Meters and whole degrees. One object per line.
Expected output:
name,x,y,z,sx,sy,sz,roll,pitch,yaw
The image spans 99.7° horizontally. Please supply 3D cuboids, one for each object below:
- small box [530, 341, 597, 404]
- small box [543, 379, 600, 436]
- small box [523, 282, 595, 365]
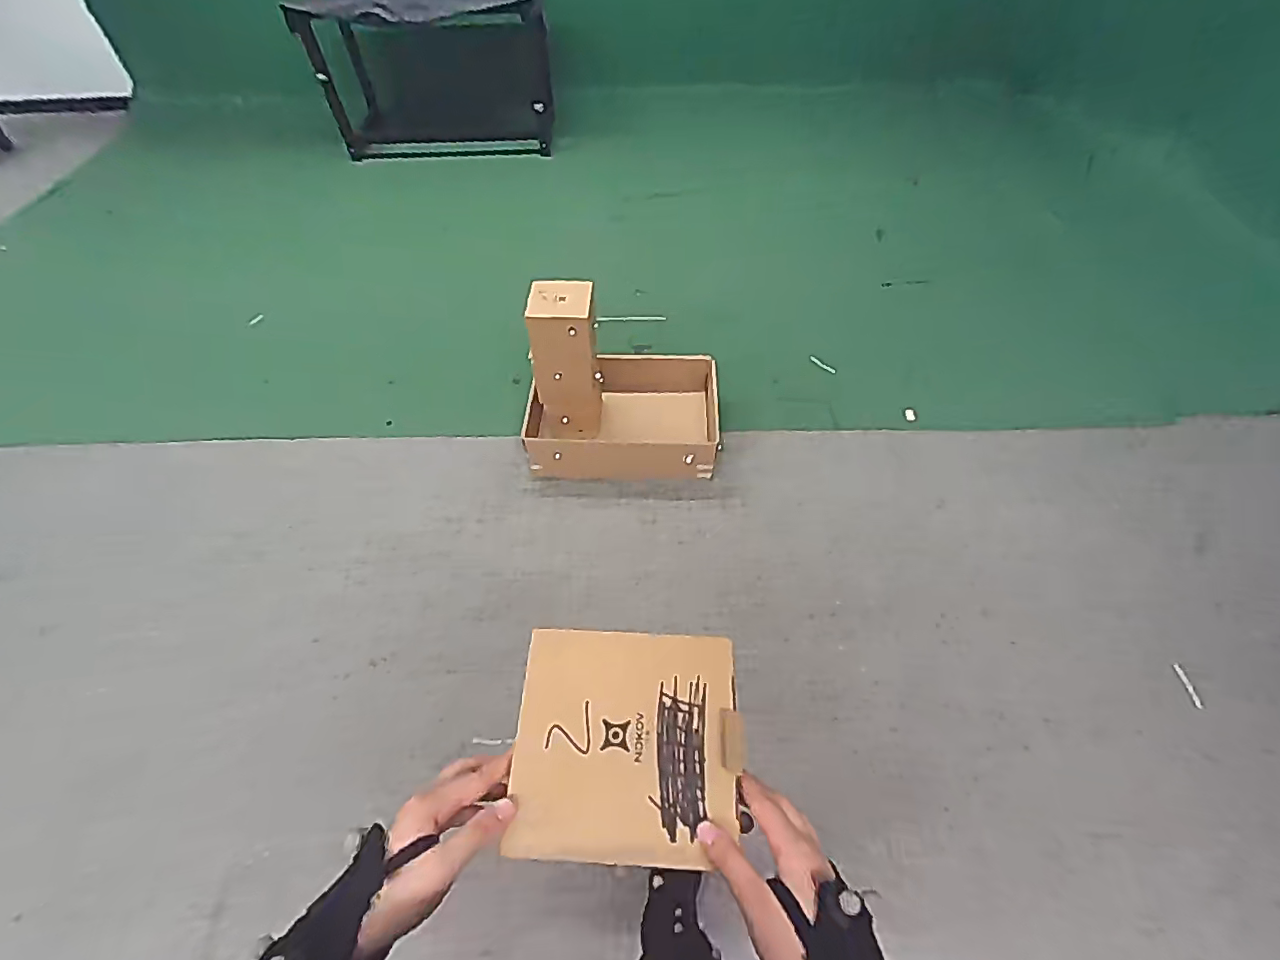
small box,-0.232,-0.351,1.689,0.179,0.176,0.168,2,55,1
small box,-0.225,-0.264,1.827,0.168,0.176,0.179,1,55,1
small box,-0.223,-0.445,1.553,0.179,0.176,0.168,1,54,1
